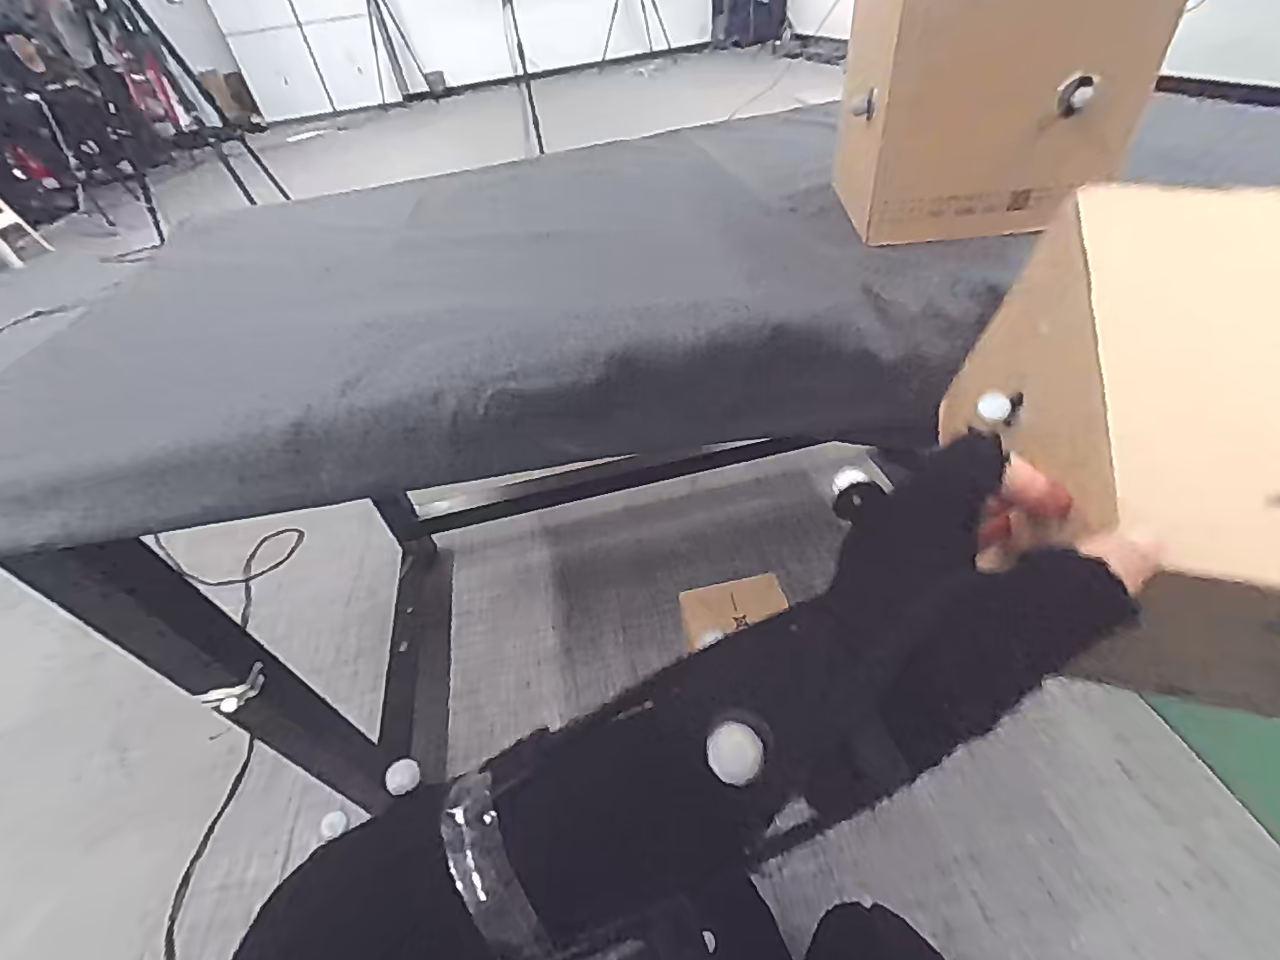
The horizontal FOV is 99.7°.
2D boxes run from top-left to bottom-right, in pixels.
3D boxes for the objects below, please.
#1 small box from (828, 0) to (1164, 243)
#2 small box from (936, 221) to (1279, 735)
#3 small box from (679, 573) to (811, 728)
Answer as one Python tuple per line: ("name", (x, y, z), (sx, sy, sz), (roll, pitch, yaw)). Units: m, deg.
("small box", (0.254, -0.299, 0.430), (0.168, 0.176, 0.179), (-1, 42, 8))
("small box", (0.259, 0.008, 0.261), (0.168, 0.176, 0.179), (9, 65, 14))
("small box", (0.167, 0.286, 0.889), (0.168, 0.176, 0.179), (-12, 41, -2))
